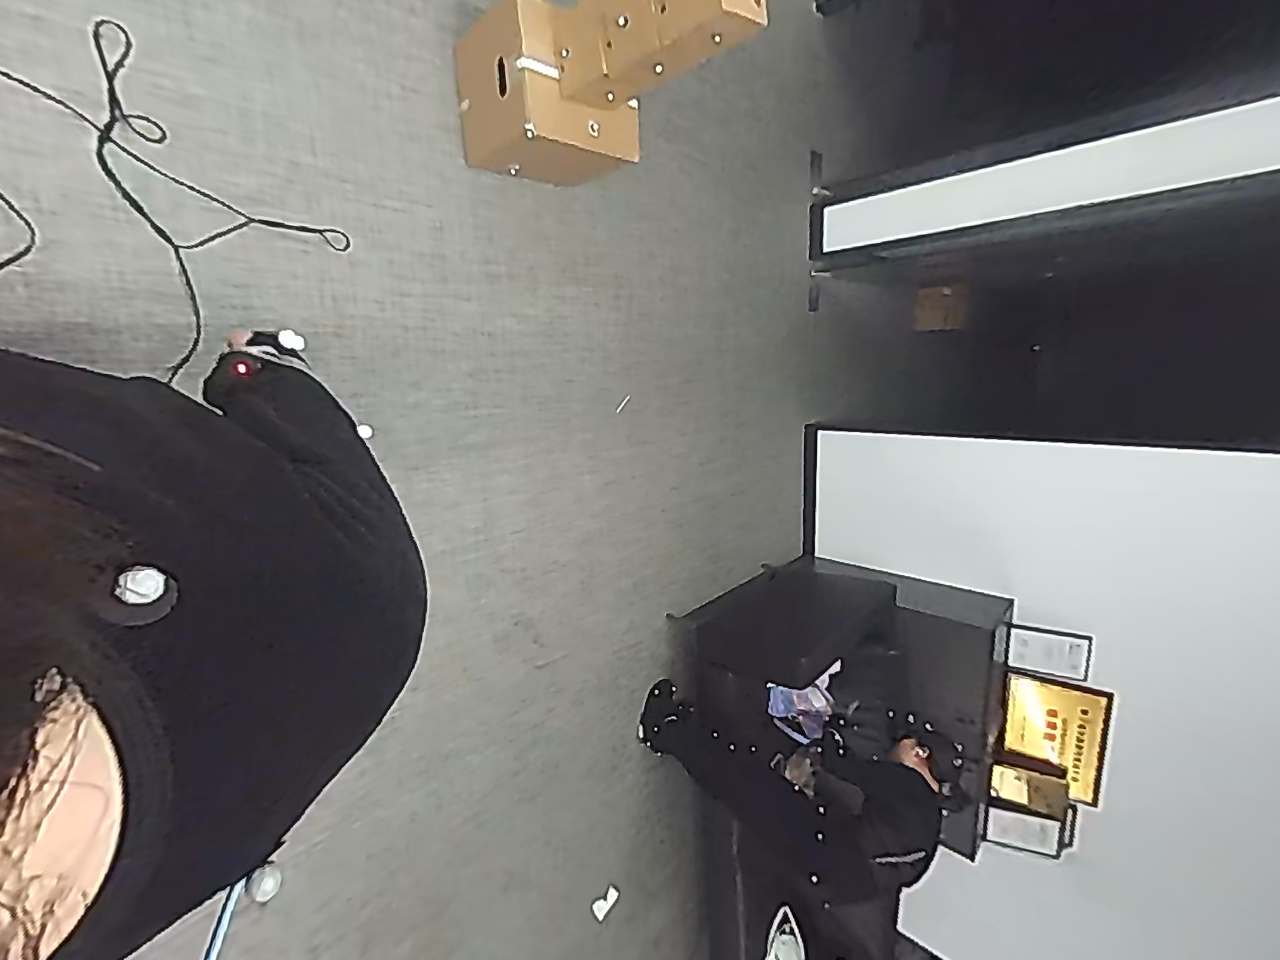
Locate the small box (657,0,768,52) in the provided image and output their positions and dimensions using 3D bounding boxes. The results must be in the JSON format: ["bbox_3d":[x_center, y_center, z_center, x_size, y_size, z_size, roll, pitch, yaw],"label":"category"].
[{"bbox_3d":[0.150,-1.048,1.149,0.179,0.176,0.168,-28,115,-40],"label":"small box"}]

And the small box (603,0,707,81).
[{"bbox_3d":[0.030,-1.065,1.261,0.179,0.176,0.168,-27,115,-40],"label":"small box"}]
